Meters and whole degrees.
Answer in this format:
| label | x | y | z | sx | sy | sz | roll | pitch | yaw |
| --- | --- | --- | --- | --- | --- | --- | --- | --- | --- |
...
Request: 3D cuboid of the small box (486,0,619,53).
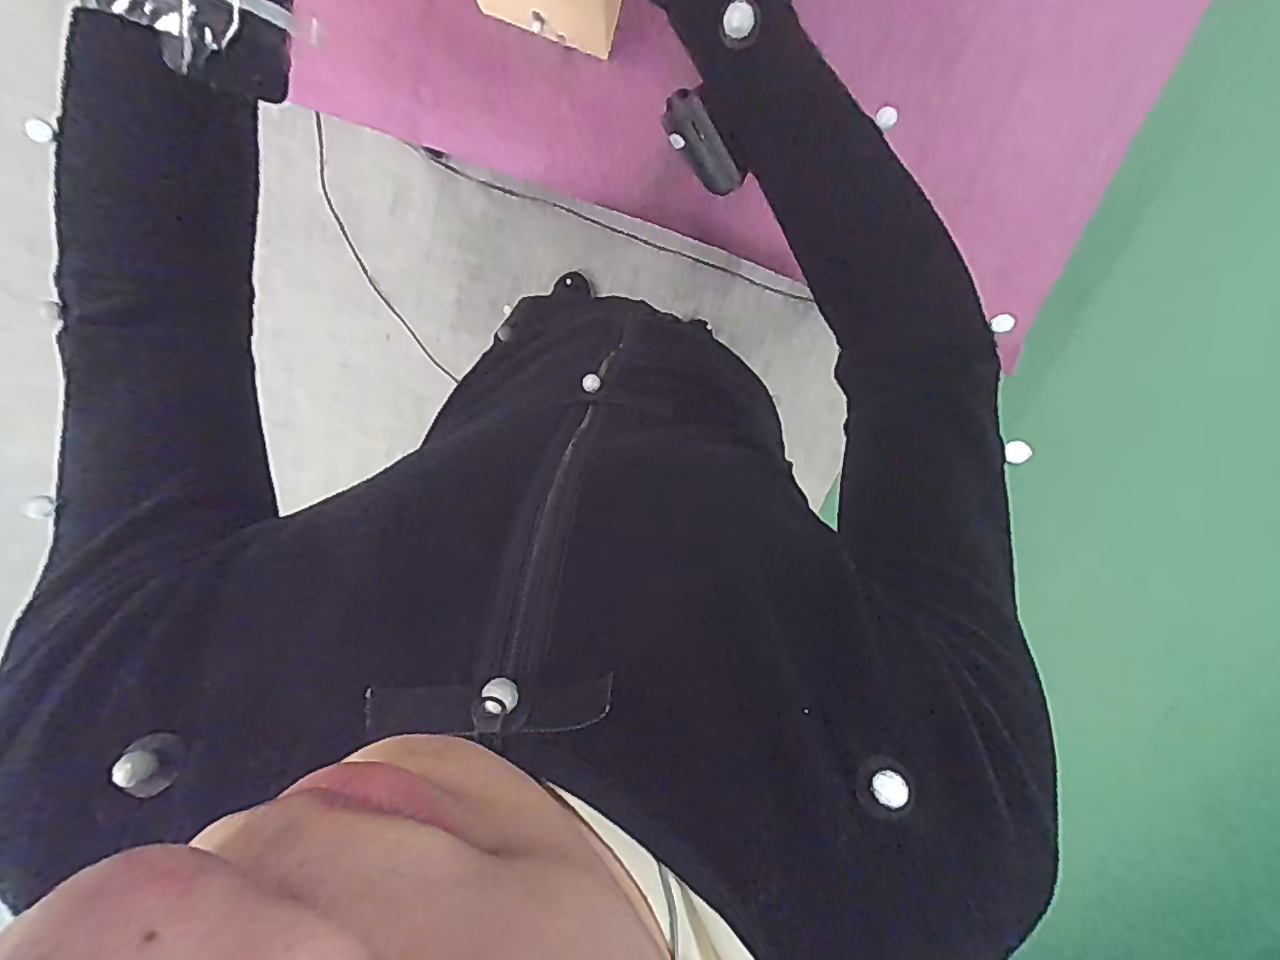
| label | x | y | z | sx | sy | sz | roll | pitch | yaw |
| --- | --- | --- | --- | --- | --- | --- | --- | --- | --- |
| small box | -0.093 | -0.618 | 0.584 | 0.168 | 0.176 | 0.179 | 16 | 109 | -8 |
